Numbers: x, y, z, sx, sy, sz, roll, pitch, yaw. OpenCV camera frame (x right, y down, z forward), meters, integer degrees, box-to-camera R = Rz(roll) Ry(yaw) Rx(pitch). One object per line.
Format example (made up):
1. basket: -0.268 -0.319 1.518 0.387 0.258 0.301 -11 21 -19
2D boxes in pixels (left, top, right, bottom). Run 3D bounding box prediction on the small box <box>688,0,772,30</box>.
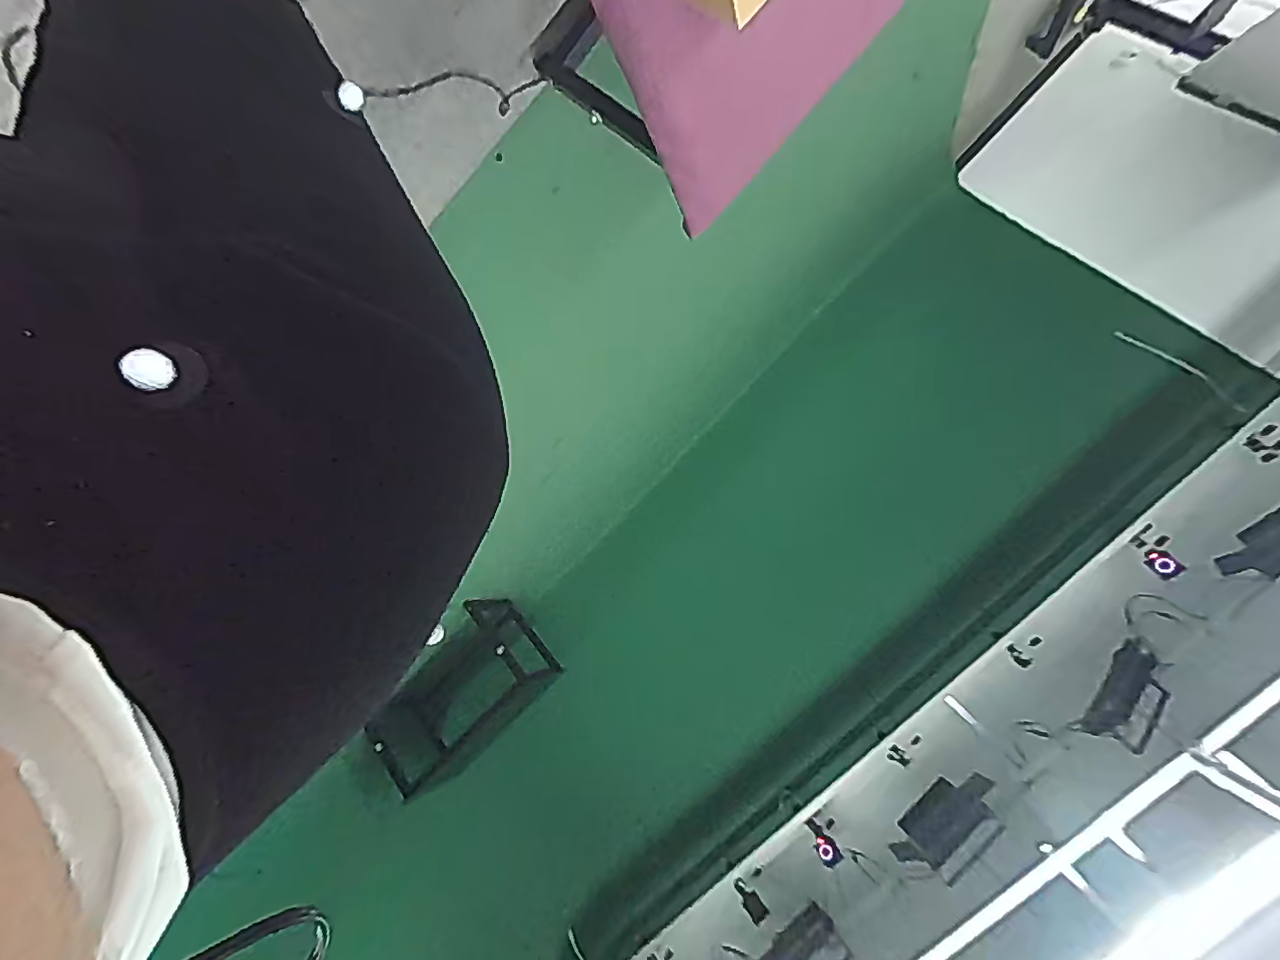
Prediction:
1. small box: 0.121 -0.750 0.691 0.179 0.176 0.168 -46 159 7
